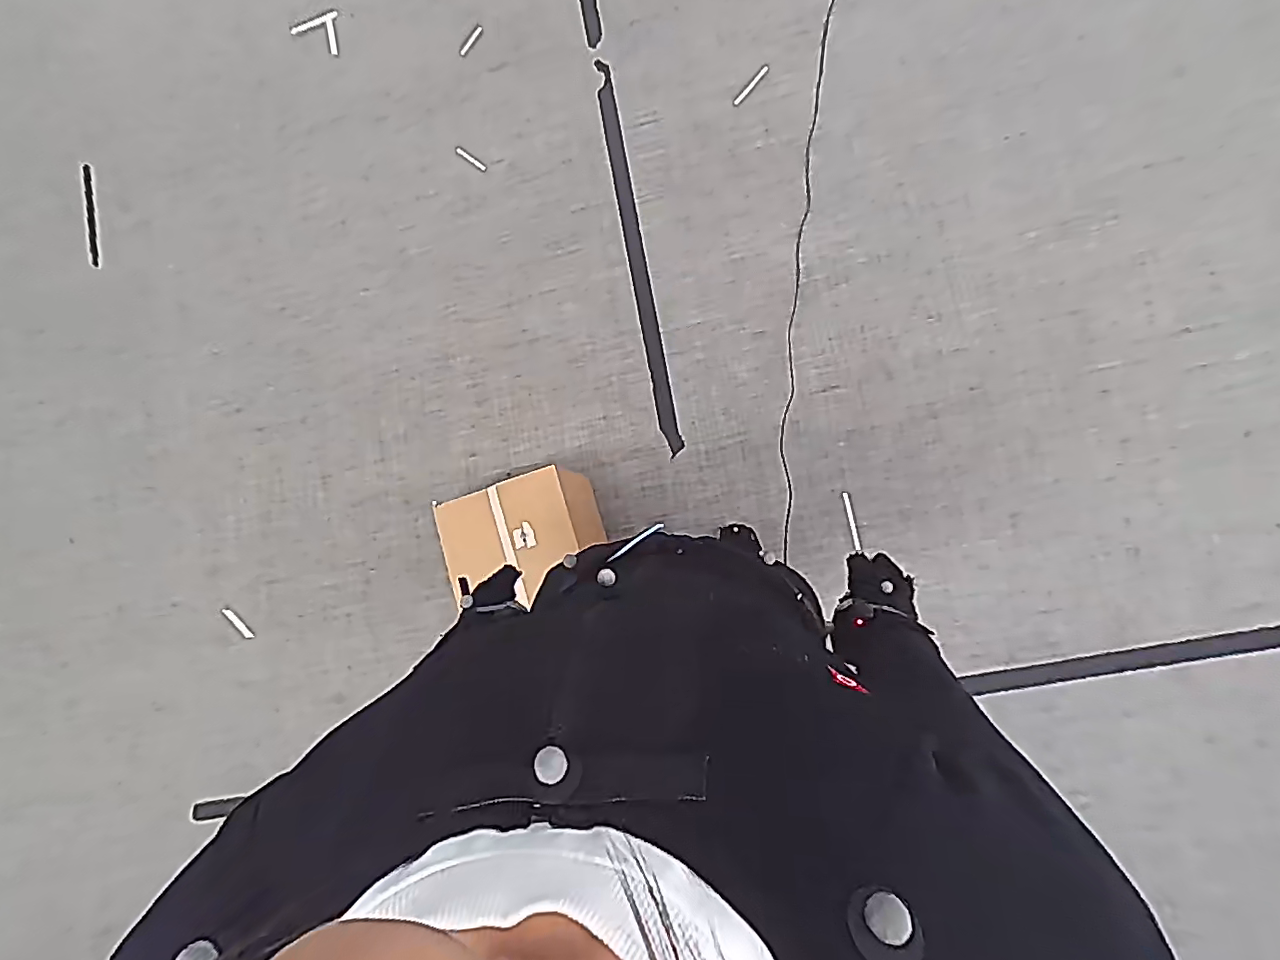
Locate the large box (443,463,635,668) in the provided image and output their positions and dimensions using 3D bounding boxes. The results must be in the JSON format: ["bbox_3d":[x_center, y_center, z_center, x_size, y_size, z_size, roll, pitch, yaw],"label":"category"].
[{"bbox_3d":[-0.239,0.211,1.374,0.320,0.320,0.408,-18,80,7],"label":"large box"}]
